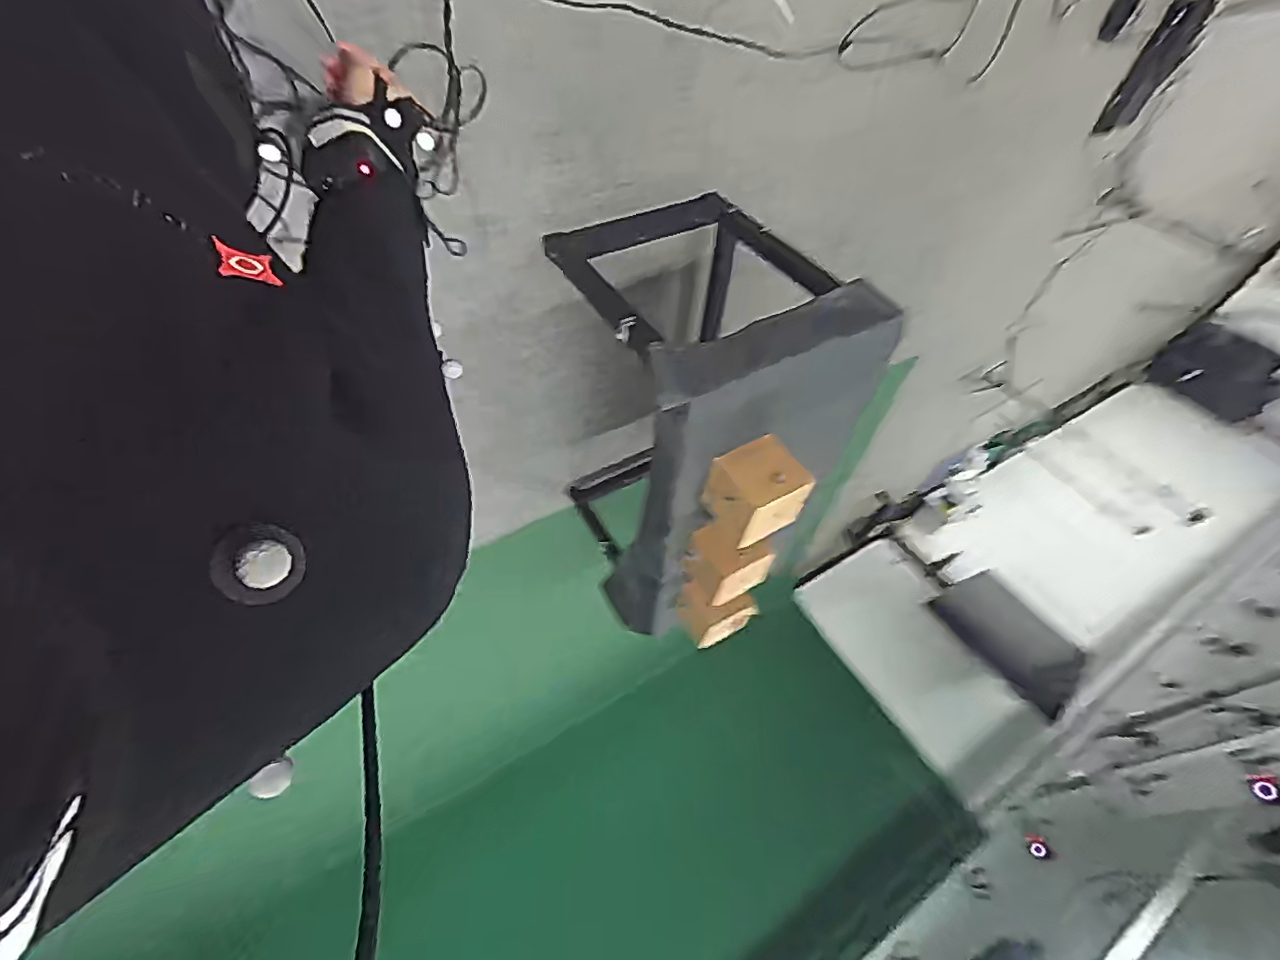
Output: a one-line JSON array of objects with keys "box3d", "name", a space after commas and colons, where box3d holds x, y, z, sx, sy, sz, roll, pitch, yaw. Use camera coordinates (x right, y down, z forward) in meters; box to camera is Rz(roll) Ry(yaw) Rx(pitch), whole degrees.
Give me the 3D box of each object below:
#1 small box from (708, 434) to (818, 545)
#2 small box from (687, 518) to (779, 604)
[{"box3d": [0.286, 0.019, 1.299, 0.179, 0.176, 0.168, -25, 147, -23], "name": "small box"}, {"box3d": [0.258, 0.213, 1.533, 0.179, 0.176, 0.168, -23, 145, -22], "name": "small box"}]
